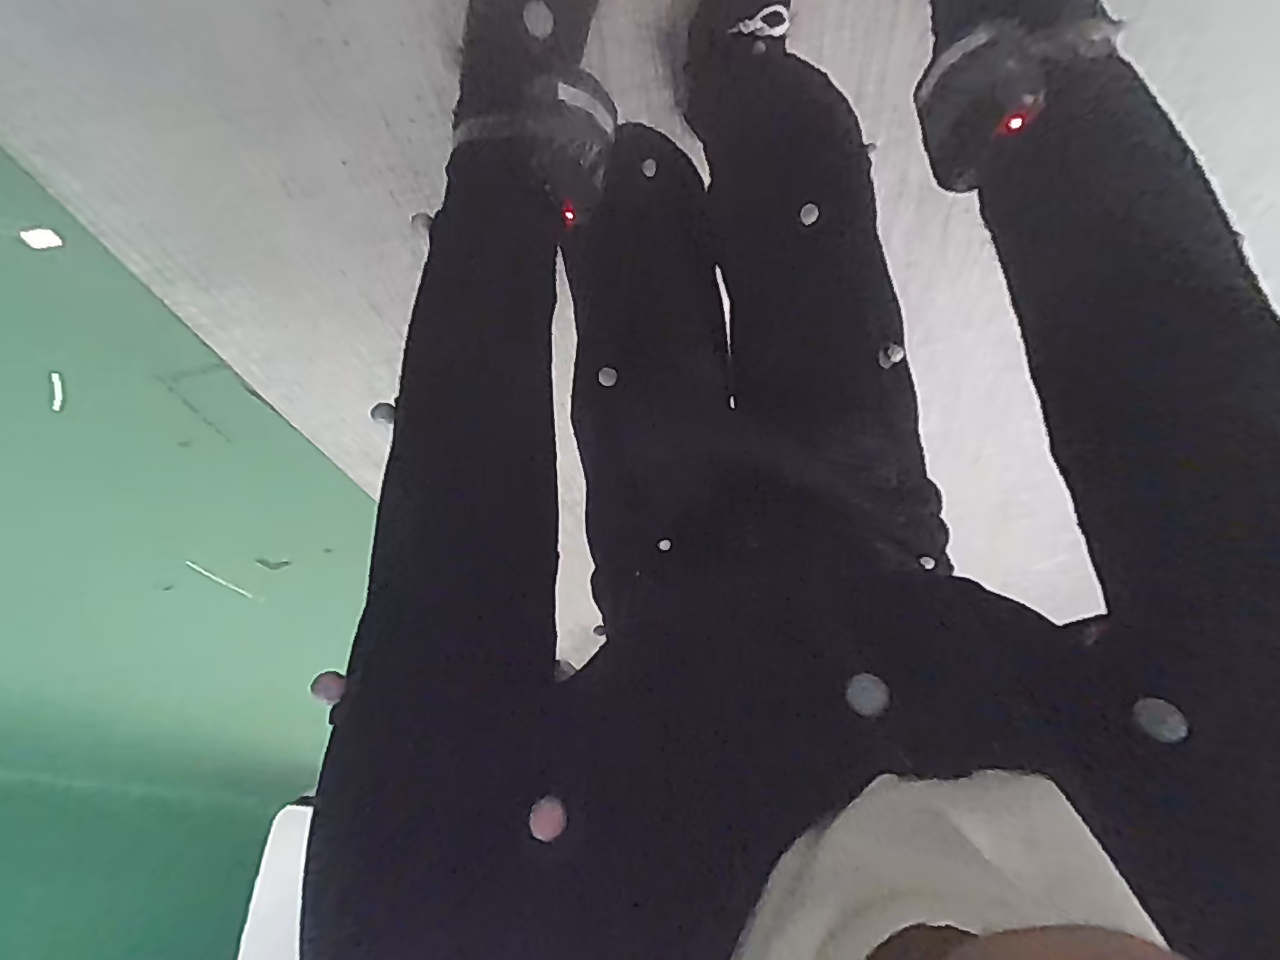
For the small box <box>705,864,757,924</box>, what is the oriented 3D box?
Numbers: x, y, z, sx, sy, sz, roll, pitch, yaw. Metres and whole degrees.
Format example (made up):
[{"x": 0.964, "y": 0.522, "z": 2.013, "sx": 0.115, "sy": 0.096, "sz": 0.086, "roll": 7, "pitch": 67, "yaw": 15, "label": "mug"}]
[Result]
[{"x": 0.351, "y": 1.611, "z": 2.107, "sx": 0.179, "sy": 0.176, "sz": 0.168, "roll": -12, "pitch": 143, "yaw": 6, "label": "small box"}]
